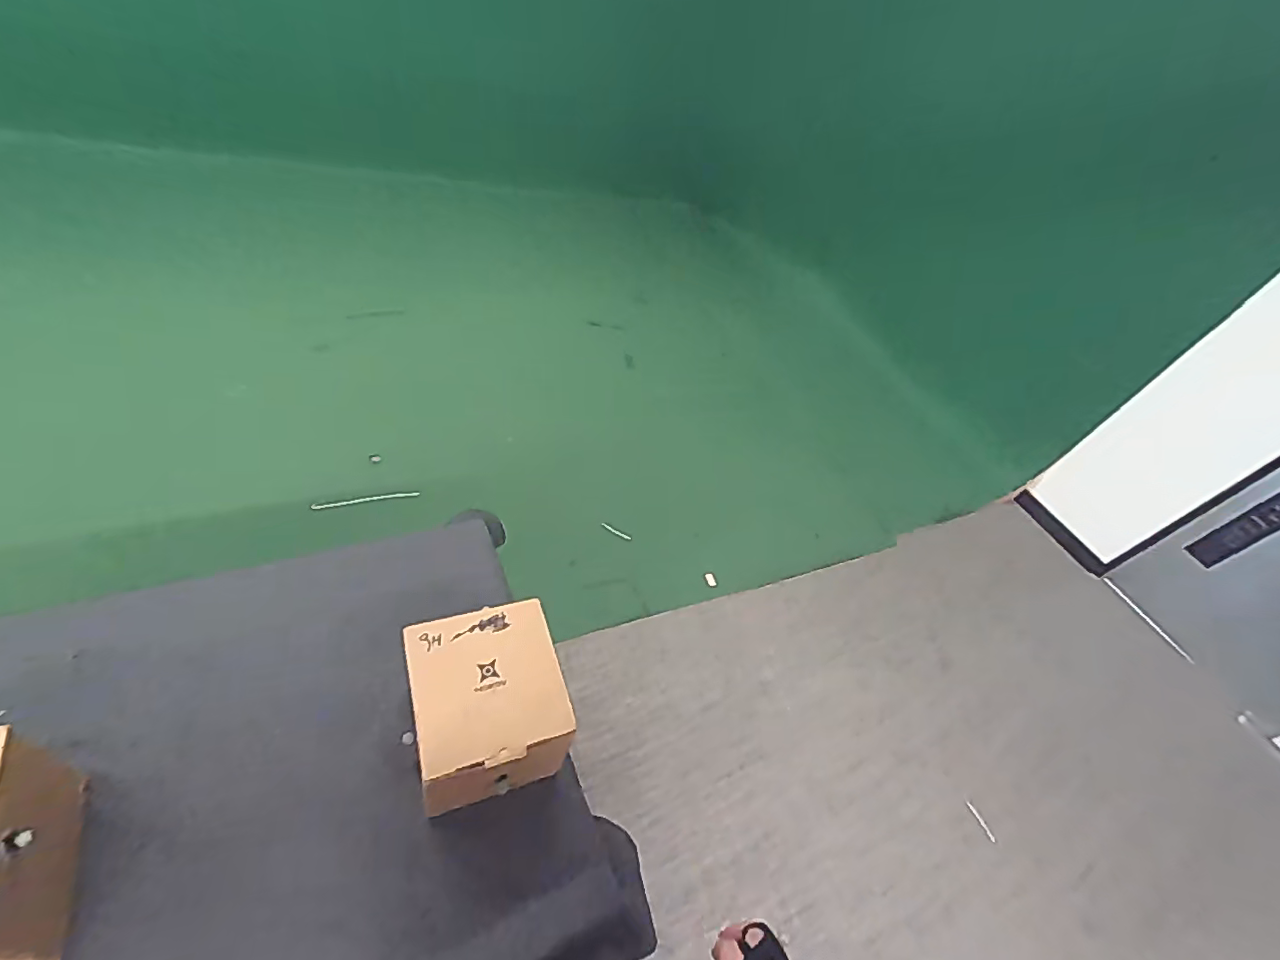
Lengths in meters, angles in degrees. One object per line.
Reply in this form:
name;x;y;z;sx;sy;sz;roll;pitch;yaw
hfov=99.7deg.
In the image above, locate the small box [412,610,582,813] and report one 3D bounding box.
small box;-0.185;0.295;0.682;0.168;0.176;0.179;-8;52;-25
